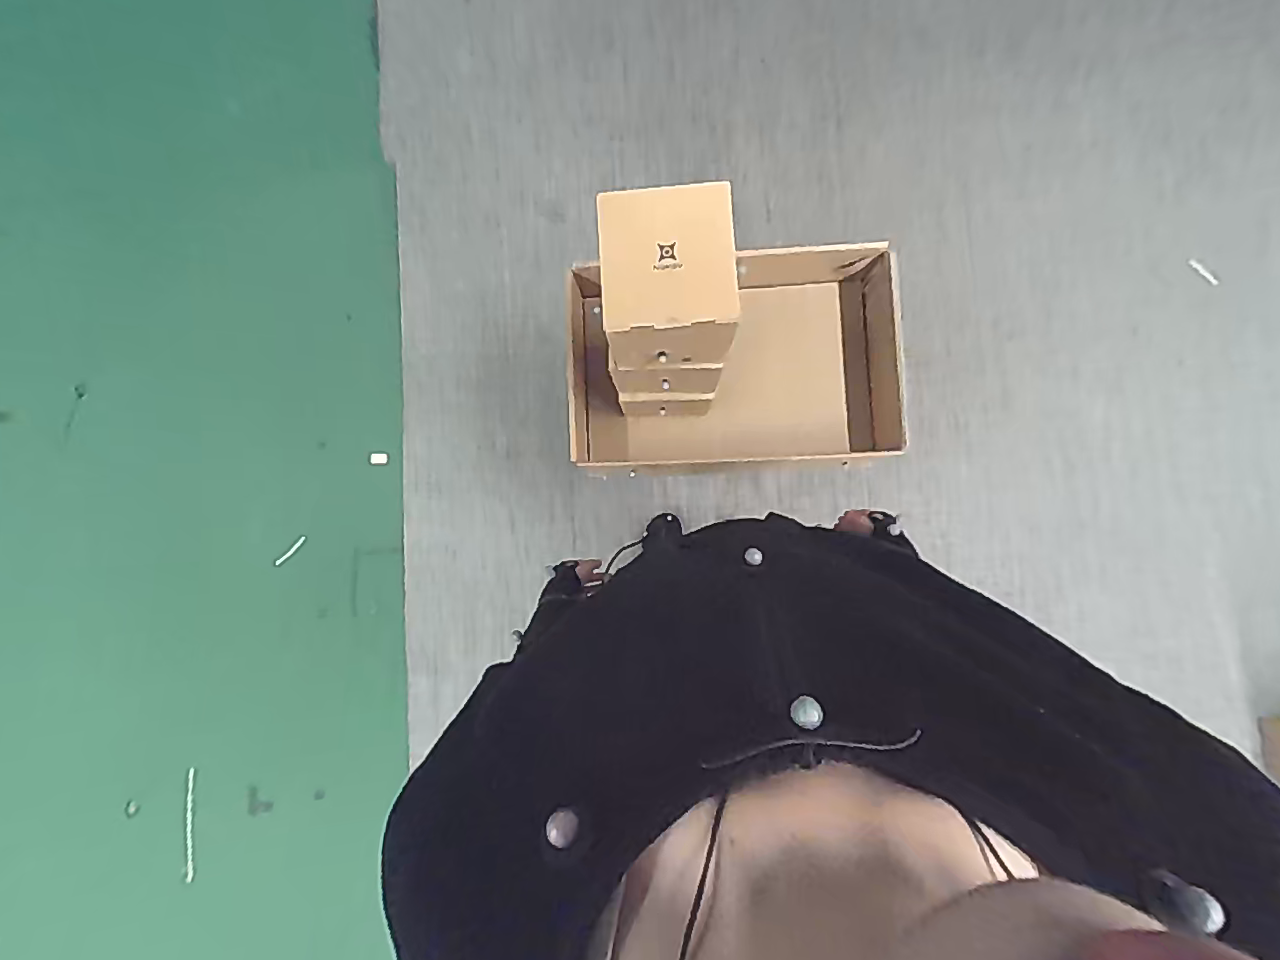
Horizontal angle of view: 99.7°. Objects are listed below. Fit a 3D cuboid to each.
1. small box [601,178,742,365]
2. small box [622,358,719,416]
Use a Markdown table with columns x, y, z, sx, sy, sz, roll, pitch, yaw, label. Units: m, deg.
| x | y | z | sx | sy | sz | roll | pitch | yaw | label |
| --- | --- | --- | --- | --- | --- | --- | --- | --- | --- |
| 0.040 | -0.267 | 0.725 | 0.168 | 0.176 | 0.179 | -4 | 86 | 3 | small box |
| 0.057 | -0.220 | 1.048 | 0.179 | 0.176 | 0.168 | -1 | 86 | 3 | small box |
